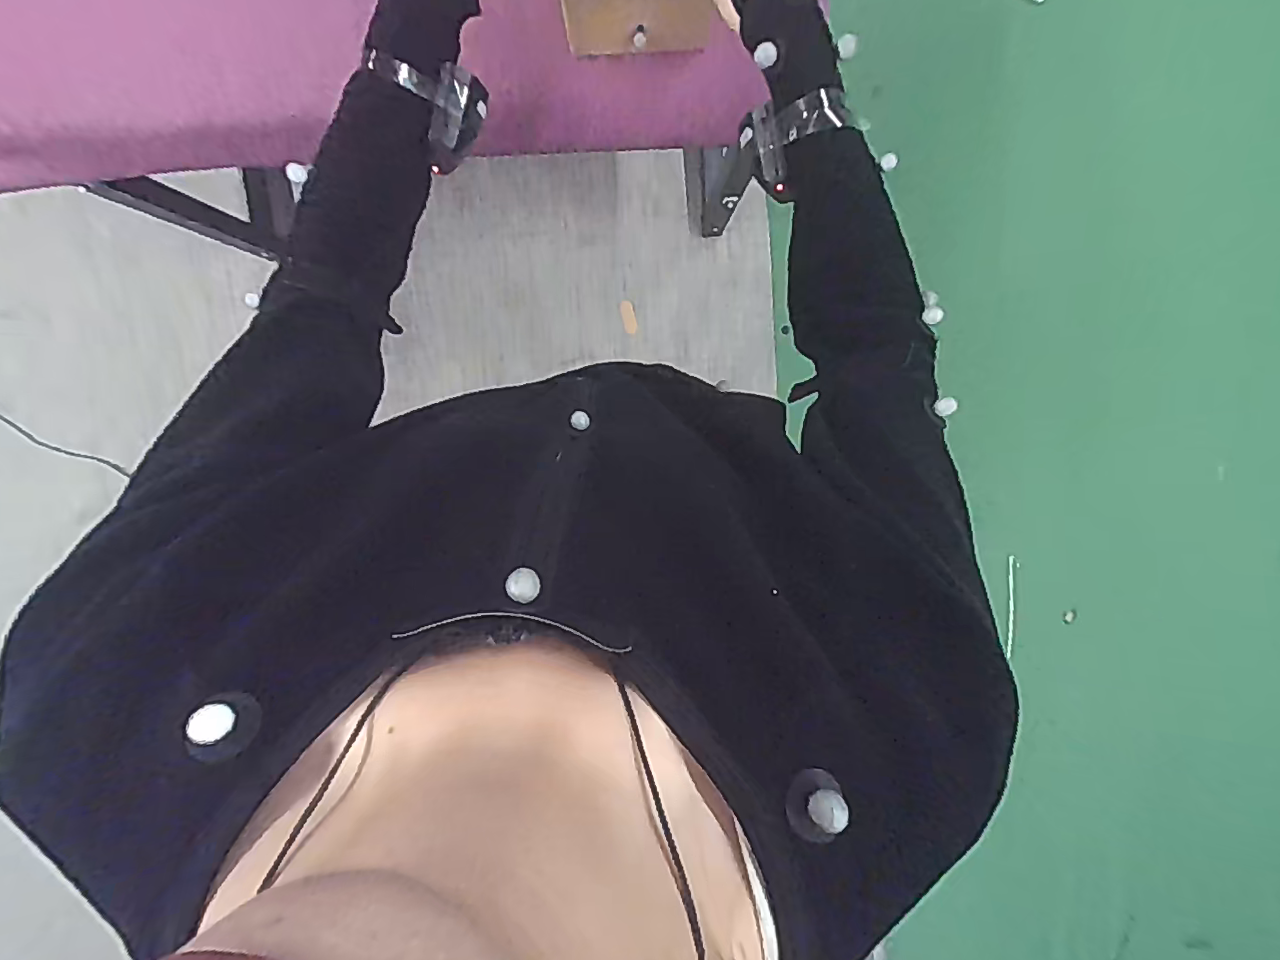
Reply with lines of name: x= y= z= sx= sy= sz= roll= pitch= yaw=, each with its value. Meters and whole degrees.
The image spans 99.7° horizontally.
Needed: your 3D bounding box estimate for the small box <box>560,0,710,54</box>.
small box: x=-0.007 y=-0.615 z=0.598 sx=0.179 sy=0.176 sz=0.168 roll=-3 pitch=96 yaw=0
